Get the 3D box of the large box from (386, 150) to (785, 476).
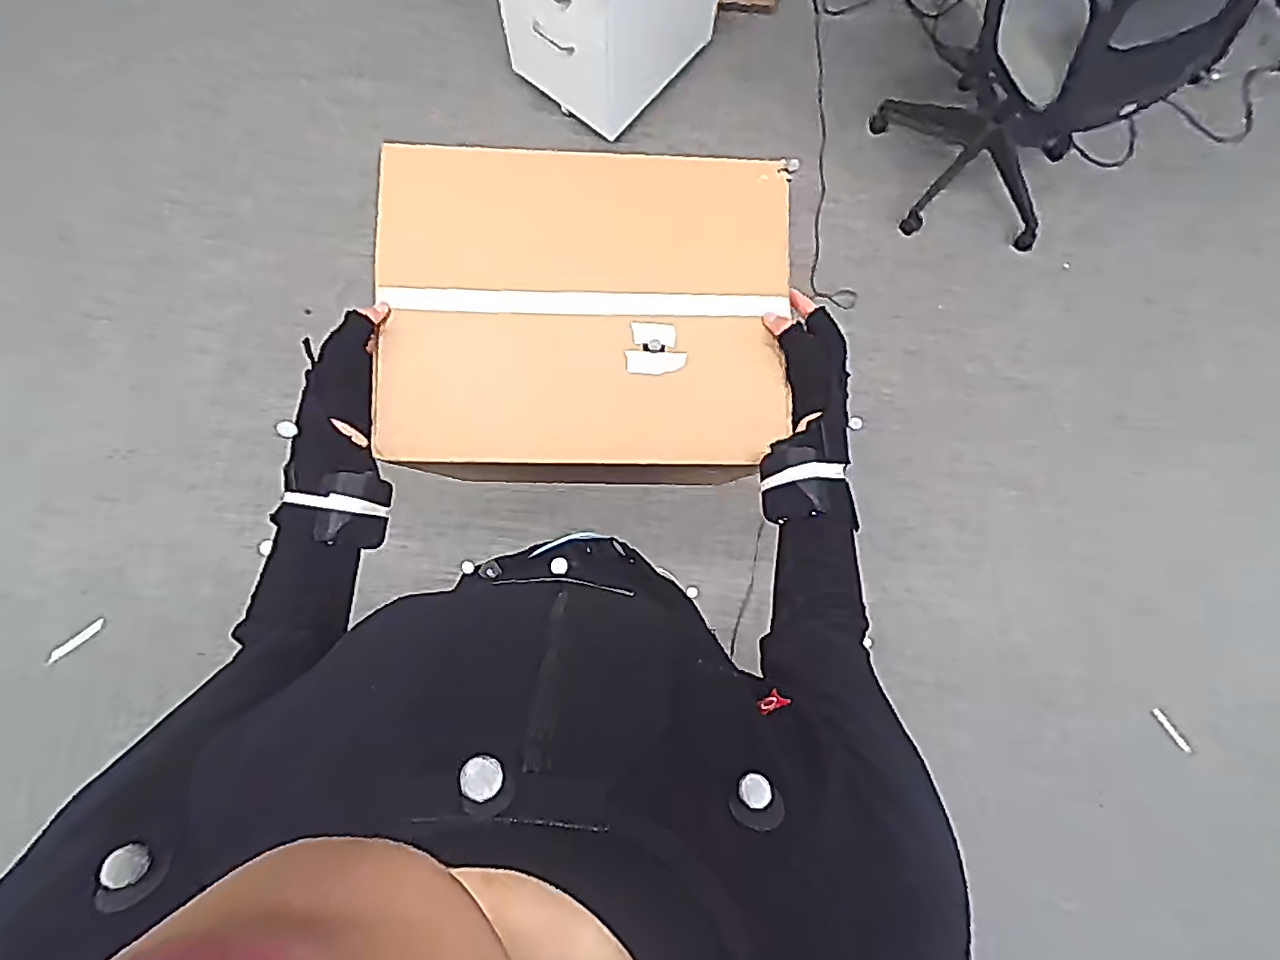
[{"bbox_3d":[-0.062,-0.171,0.693,0.408,0.320,0.320,1,87,-4],"label":"large box"}]
